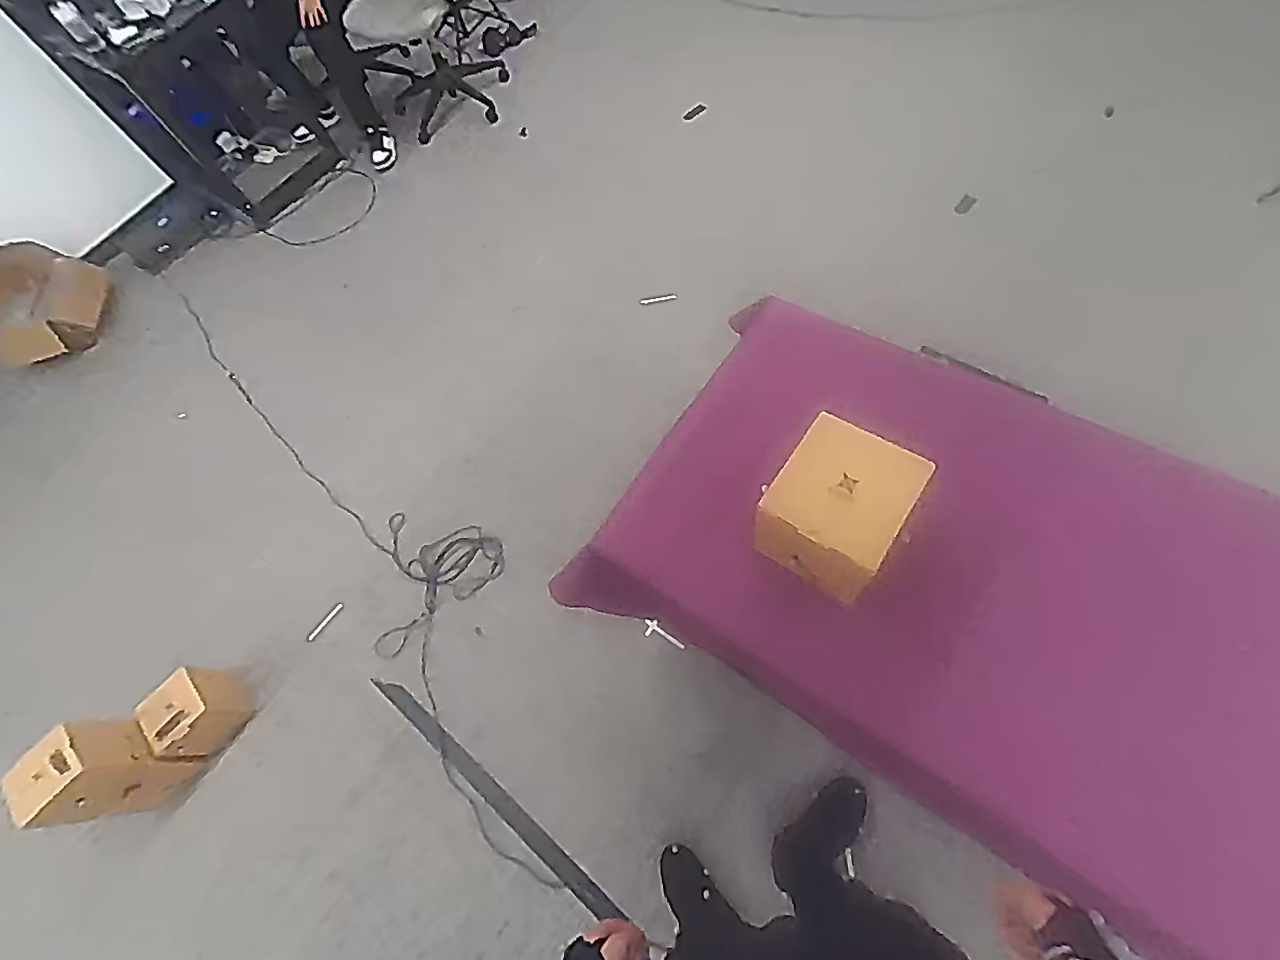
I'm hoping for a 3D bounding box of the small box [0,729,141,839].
[{"bbox_3d":[-1.431,0.761,1.374,0.168,0.176,0.179,36,77,24],"label":"small box"}]

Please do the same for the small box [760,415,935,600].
[{"bbox_3d":[0.283,0.046,0.779,0.168,0.176,0.179,31,74,22],"label":"small box"}]
